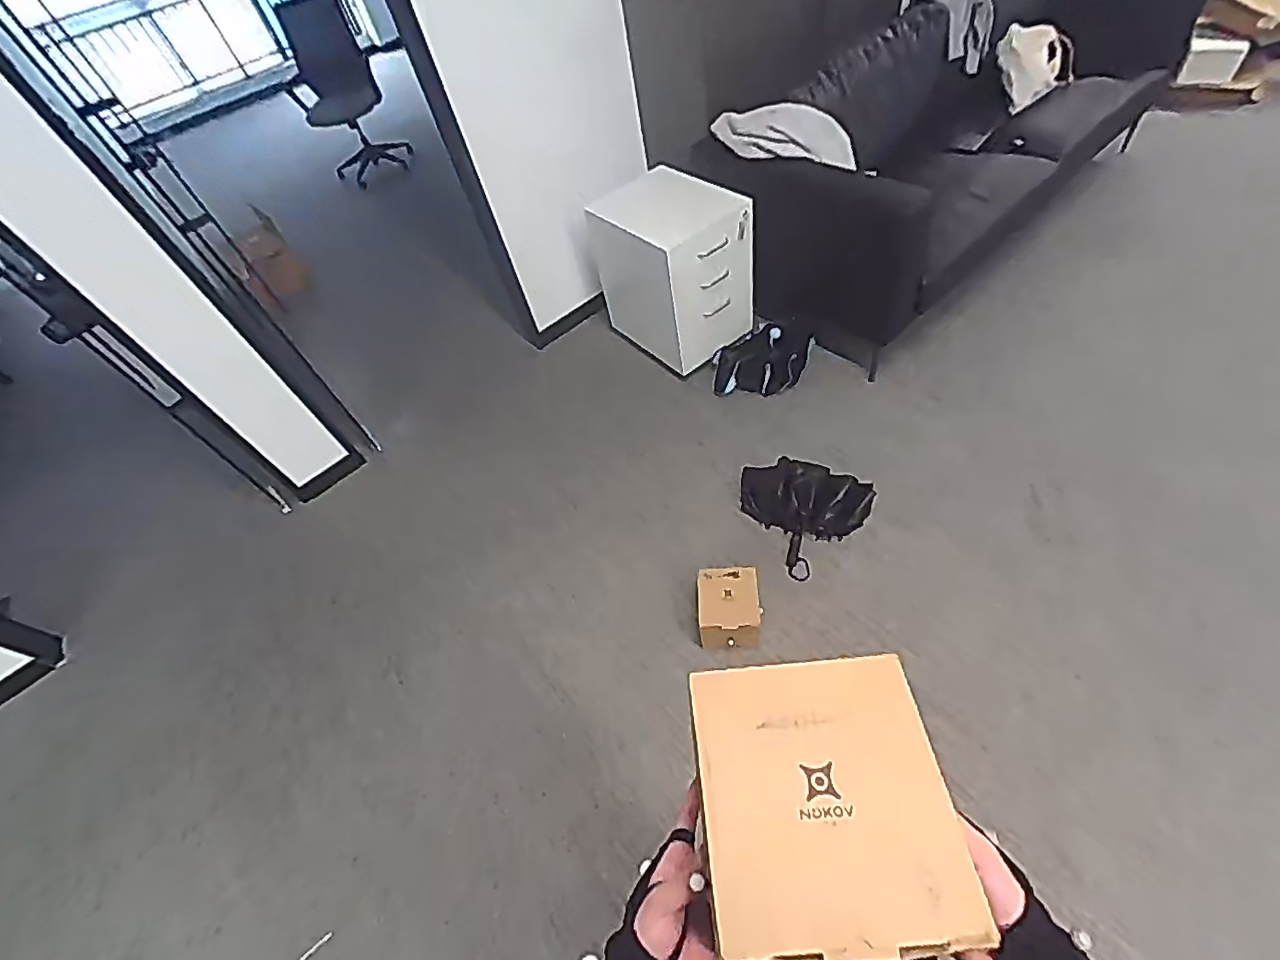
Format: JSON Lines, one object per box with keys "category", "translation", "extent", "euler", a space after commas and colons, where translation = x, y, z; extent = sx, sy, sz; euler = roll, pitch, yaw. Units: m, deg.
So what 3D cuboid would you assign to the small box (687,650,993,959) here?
{"category": "small box", "translation": [0.131, 0.259, 0.433], "extent": [0.168, 0.176, 0.179], "euler": [-6, 49, 1]}
